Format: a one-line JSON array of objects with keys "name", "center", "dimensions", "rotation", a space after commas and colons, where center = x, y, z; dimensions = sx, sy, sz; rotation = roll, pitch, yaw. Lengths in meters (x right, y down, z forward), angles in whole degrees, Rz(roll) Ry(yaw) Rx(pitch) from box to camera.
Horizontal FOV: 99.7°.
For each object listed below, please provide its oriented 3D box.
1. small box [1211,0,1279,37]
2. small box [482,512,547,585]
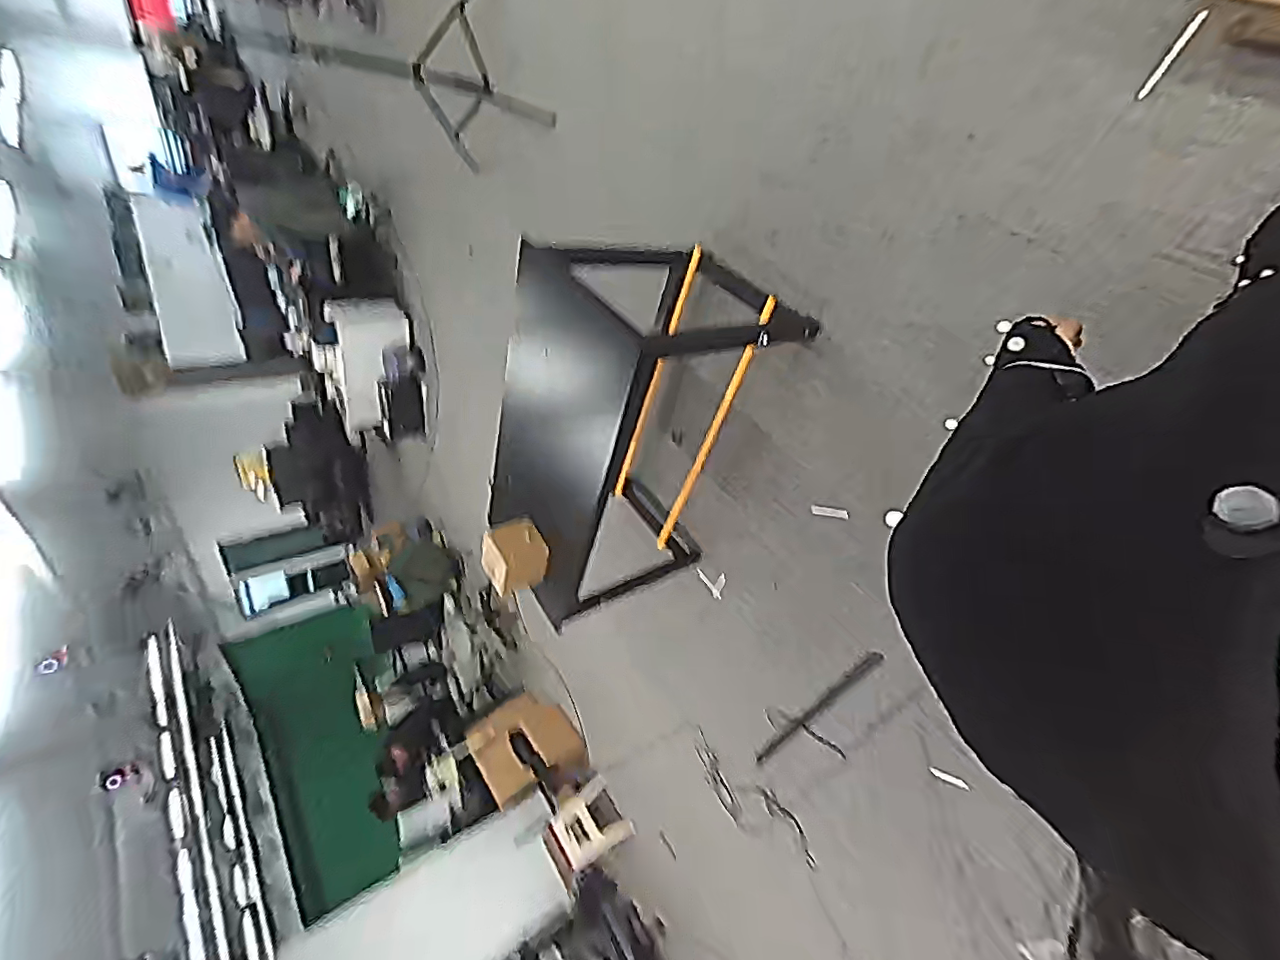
[{"name": "small box", "center": [1.021, -0.771, 0.793], "dimensions": [0.179, 0.176, 0.168], "rotation": [49, 138, 31]}, {"name": "small box", "center": [-0.447, 0.241, 1.926], "dimensions": [0.168, 0.176, 0.179], "rotation": [50, 137, 29]}]
